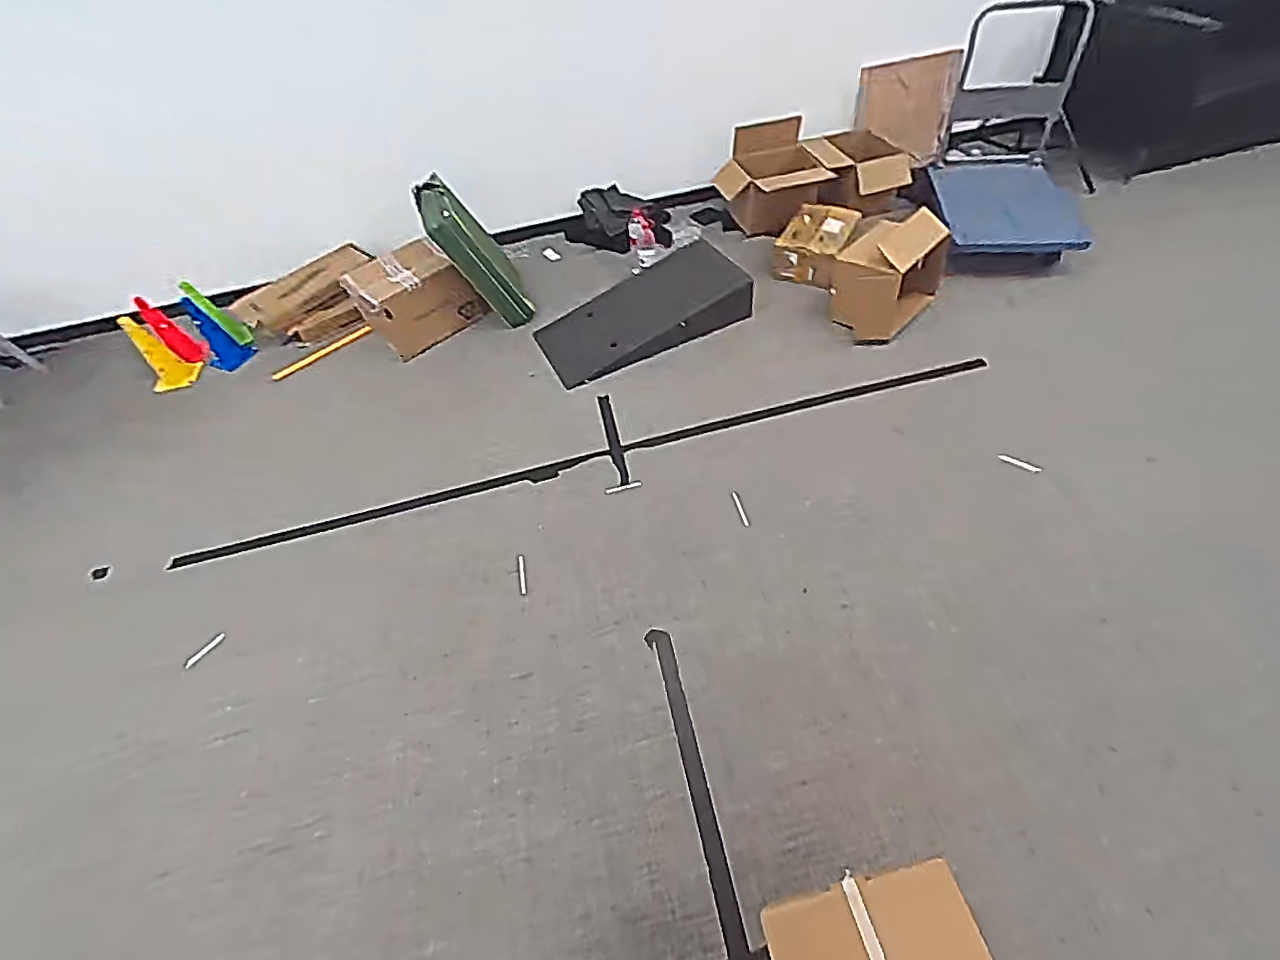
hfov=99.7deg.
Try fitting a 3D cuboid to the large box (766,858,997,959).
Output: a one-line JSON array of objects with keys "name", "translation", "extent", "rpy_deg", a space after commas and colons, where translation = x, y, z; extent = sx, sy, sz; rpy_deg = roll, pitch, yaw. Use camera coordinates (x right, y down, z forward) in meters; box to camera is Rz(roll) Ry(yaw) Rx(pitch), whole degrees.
[{"name": "large box", "translation": [0.424, 0.889, 0.868], "extent": [0.320, 0.320, 0.408], "rpy_deg": [-19, 52, 3]}]
